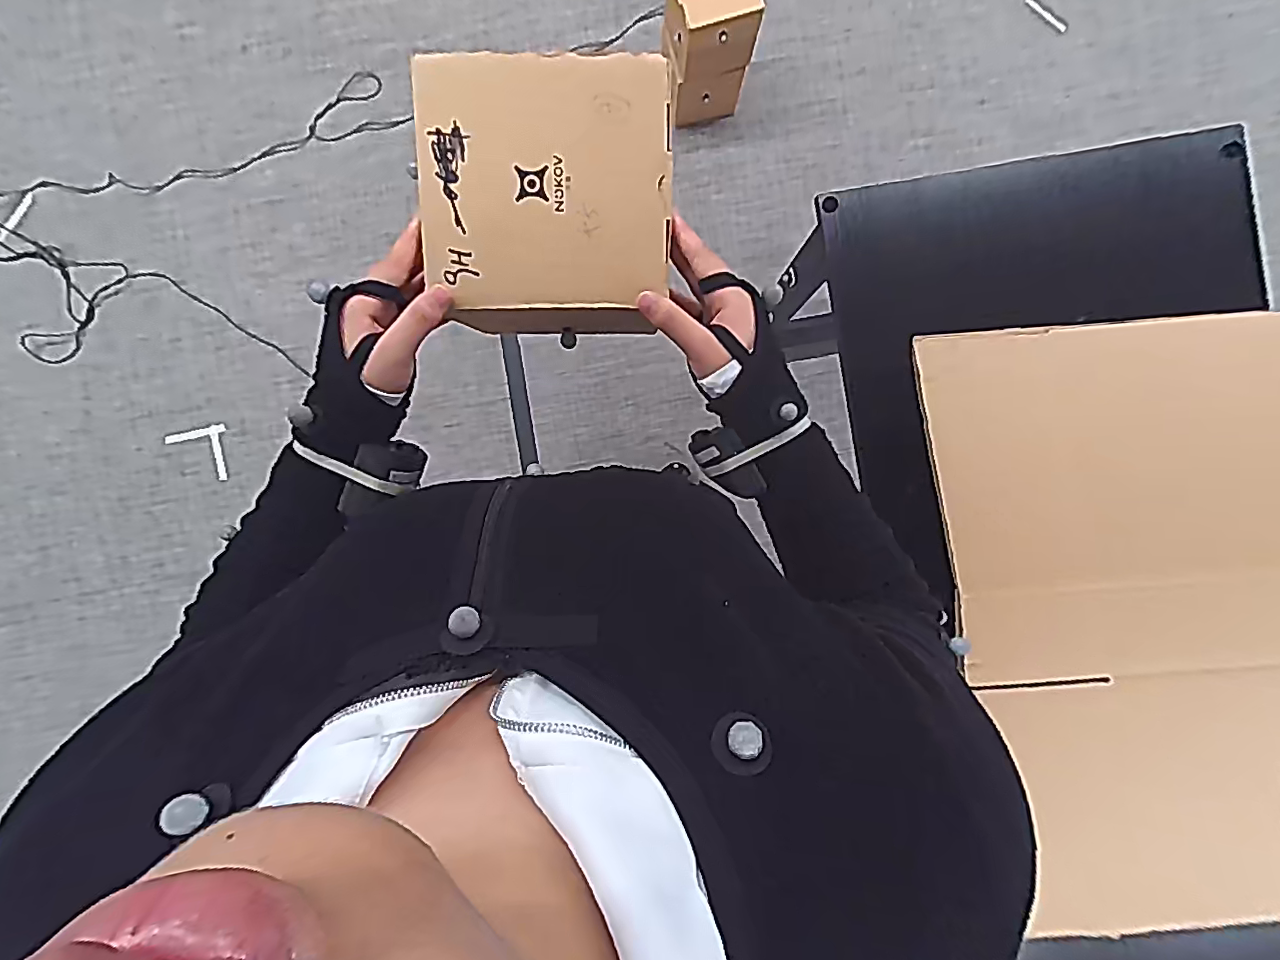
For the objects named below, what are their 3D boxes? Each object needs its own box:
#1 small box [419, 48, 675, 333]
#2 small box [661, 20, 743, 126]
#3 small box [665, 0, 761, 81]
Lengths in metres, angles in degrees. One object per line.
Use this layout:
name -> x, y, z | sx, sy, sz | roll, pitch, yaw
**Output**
small box -> -0.067, -0.220, 0.457 | 0.179, 0.176, 0.168 | -1, 98, -2
small box -> 0.154, -1.076, 1.417 | 0.179, 0.176, 0.168 | -14, 90, 1
small box -> 0.160, -1.077, 1.255 | 0.179, 0.176, 0.168 | -16, 91, -1
